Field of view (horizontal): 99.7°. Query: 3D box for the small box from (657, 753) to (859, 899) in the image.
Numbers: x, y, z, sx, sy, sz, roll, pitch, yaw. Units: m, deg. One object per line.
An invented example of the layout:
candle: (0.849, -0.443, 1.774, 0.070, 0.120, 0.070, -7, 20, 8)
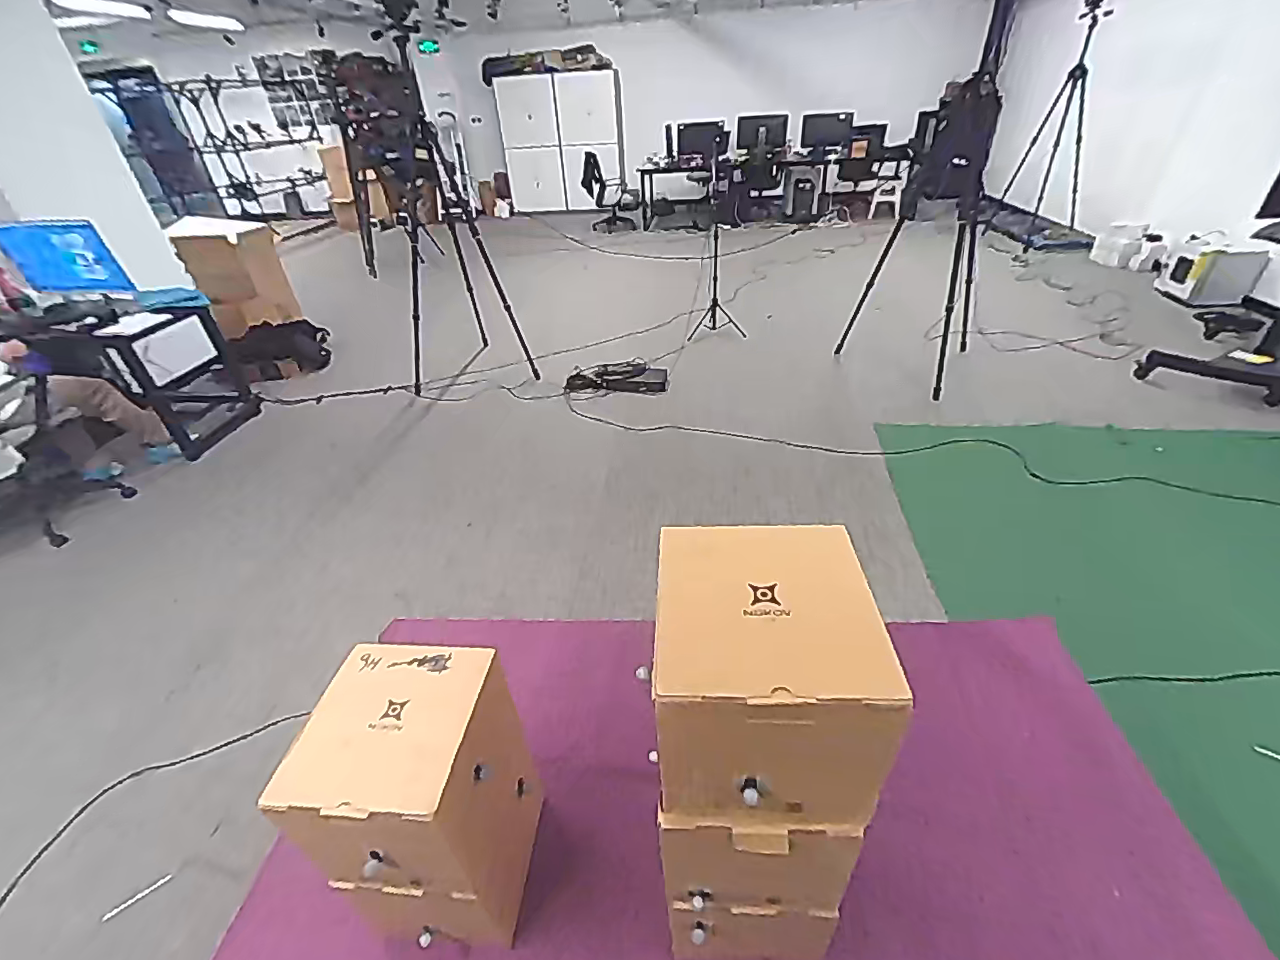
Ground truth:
small box: (0.107, 0.293, 0.548, 0.168, 0.176, 0.179, -1, 34, 5)

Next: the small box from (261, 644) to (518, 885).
small box: (-0.240, 0.299, 0.576, 0.168, 0.176, 0.179, 0, 36, 5)

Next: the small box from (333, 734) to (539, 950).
small box: (-0.229, 0.436, 0.667, 0.168, 0.176, 0.179, -1, 35, 6)

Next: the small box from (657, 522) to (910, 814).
small box: (0.100, 0.154, 0.463, 0.168, 0.176, 0.179, -1, 35, 4)
